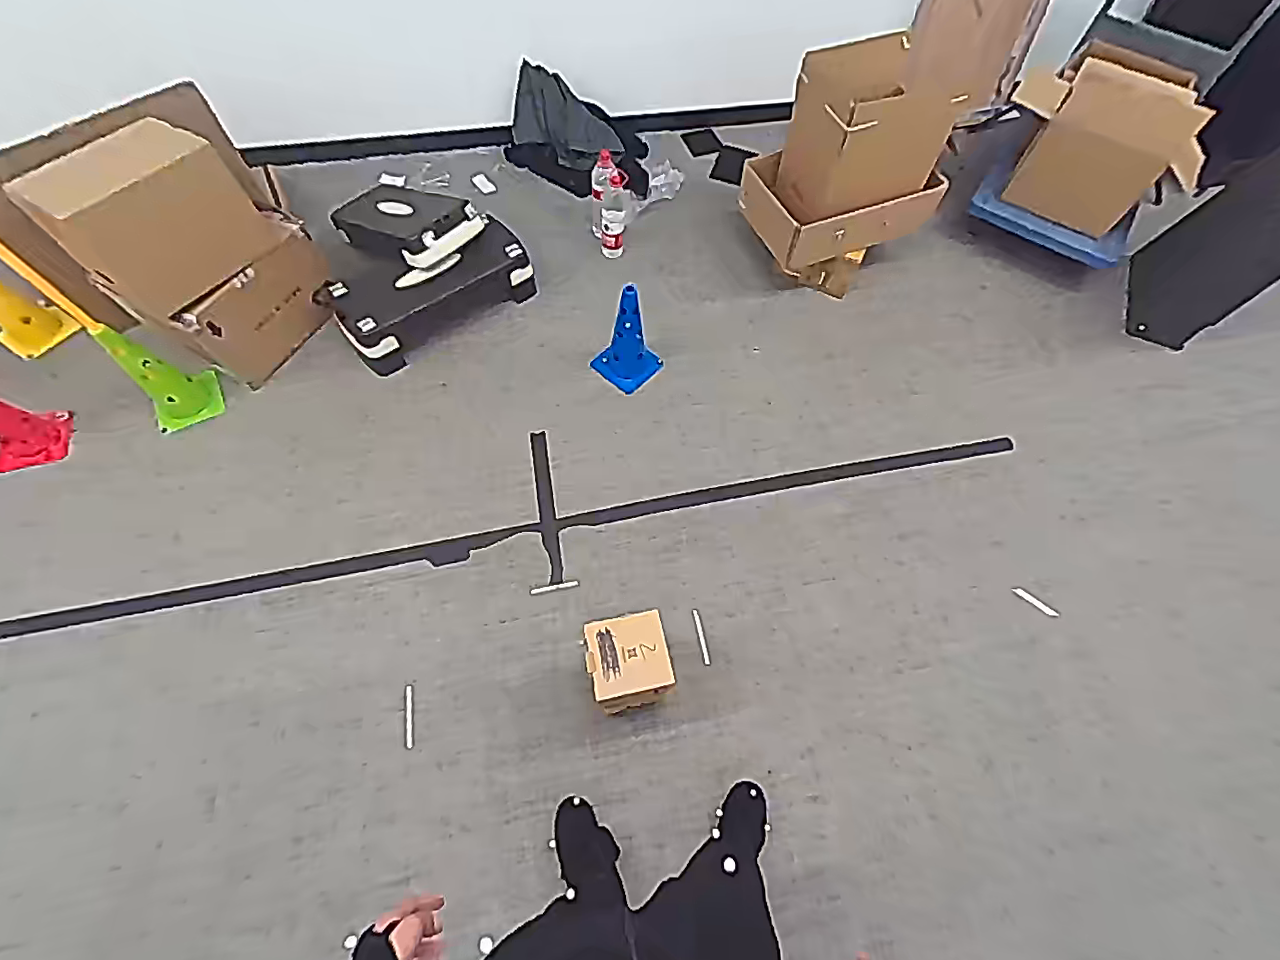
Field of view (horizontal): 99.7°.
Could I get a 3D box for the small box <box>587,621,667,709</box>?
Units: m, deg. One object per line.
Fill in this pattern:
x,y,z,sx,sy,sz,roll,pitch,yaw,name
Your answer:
-0.034,0.484,1.399,0.168,0.176,0.179,-13,65,-9,small box
